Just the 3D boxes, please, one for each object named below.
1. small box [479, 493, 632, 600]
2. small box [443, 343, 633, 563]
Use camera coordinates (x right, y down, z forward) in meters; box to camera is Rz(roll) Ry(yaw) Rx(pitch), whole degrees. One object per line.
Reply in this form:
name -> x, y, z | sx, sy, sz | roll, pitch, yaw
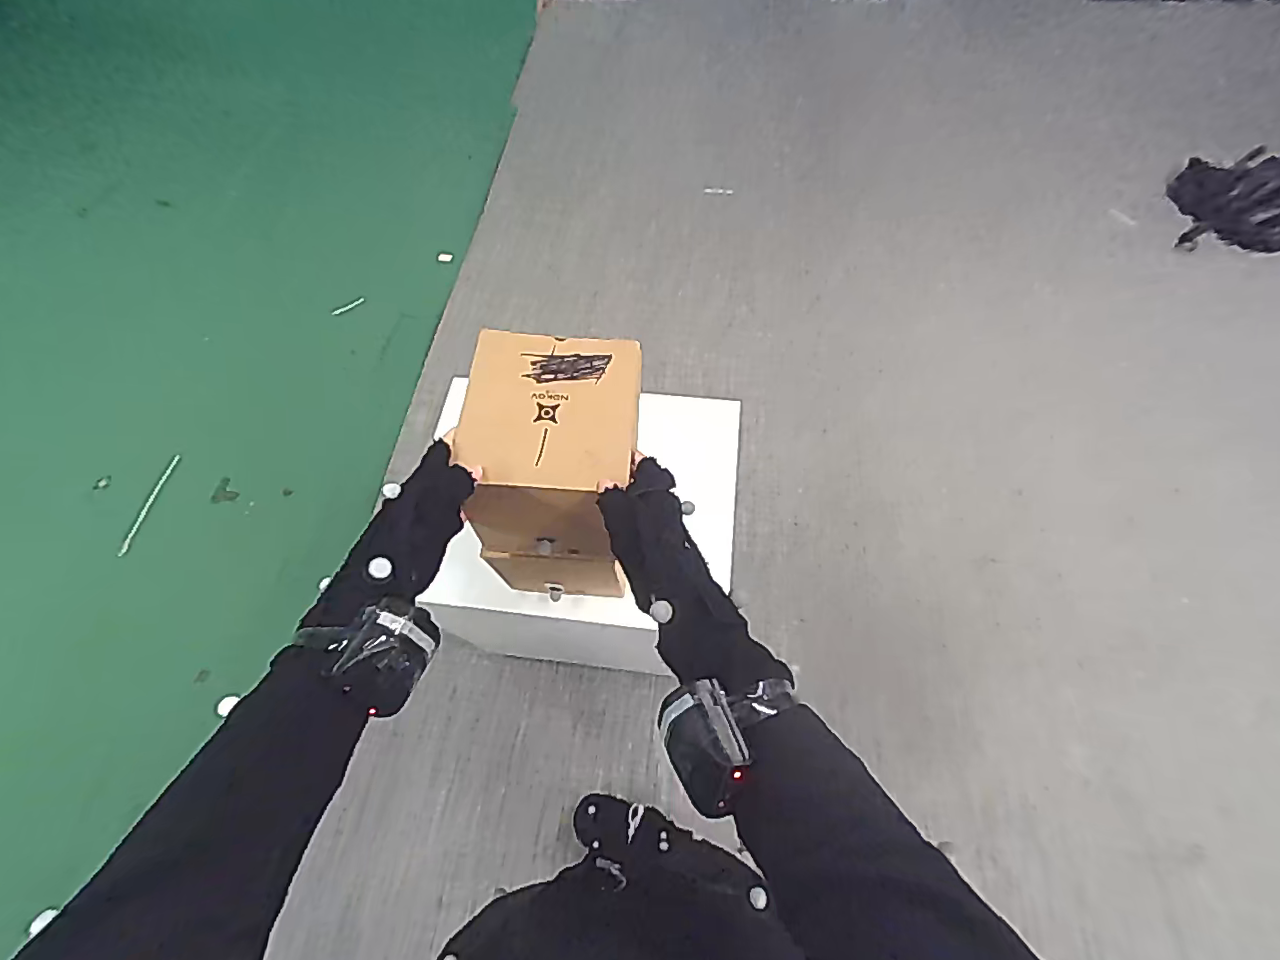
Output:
small box -> -0.102, 0.056, 0.746 | 0.168, 0.176, 0.179 | 1, 65, 5
small box -> -0.093, -0.025, 0.587 | 0.168, 0.176, 0.179 | 1, 59, 0
